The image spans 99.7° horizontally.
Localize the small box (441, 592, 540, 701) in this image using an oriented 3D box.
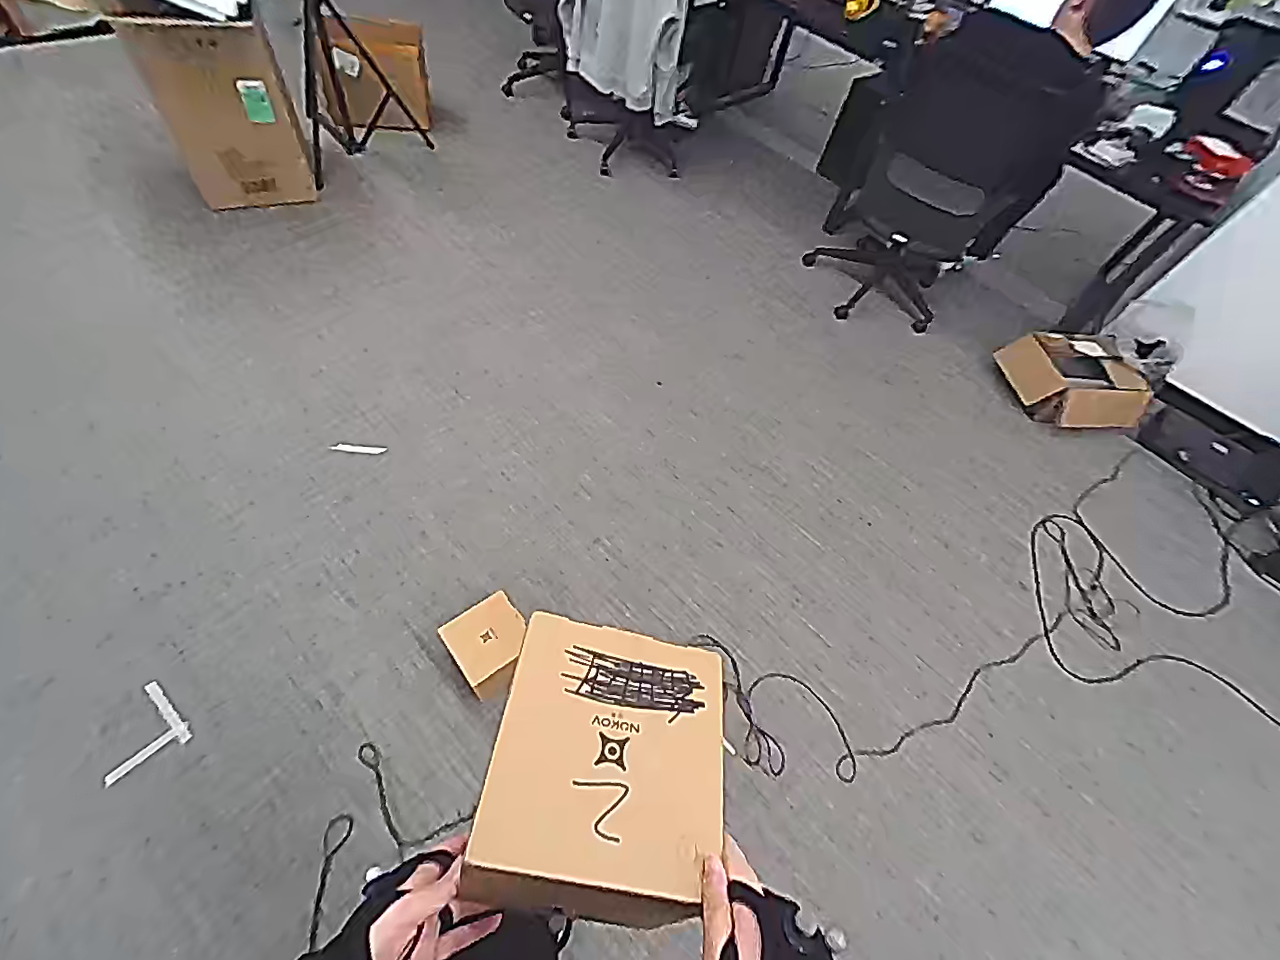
[{"bbox_3d":[-0.361,0.416,1.335,0.179,0.176,0.168,-31,66,-26],"label":"small box"}]
